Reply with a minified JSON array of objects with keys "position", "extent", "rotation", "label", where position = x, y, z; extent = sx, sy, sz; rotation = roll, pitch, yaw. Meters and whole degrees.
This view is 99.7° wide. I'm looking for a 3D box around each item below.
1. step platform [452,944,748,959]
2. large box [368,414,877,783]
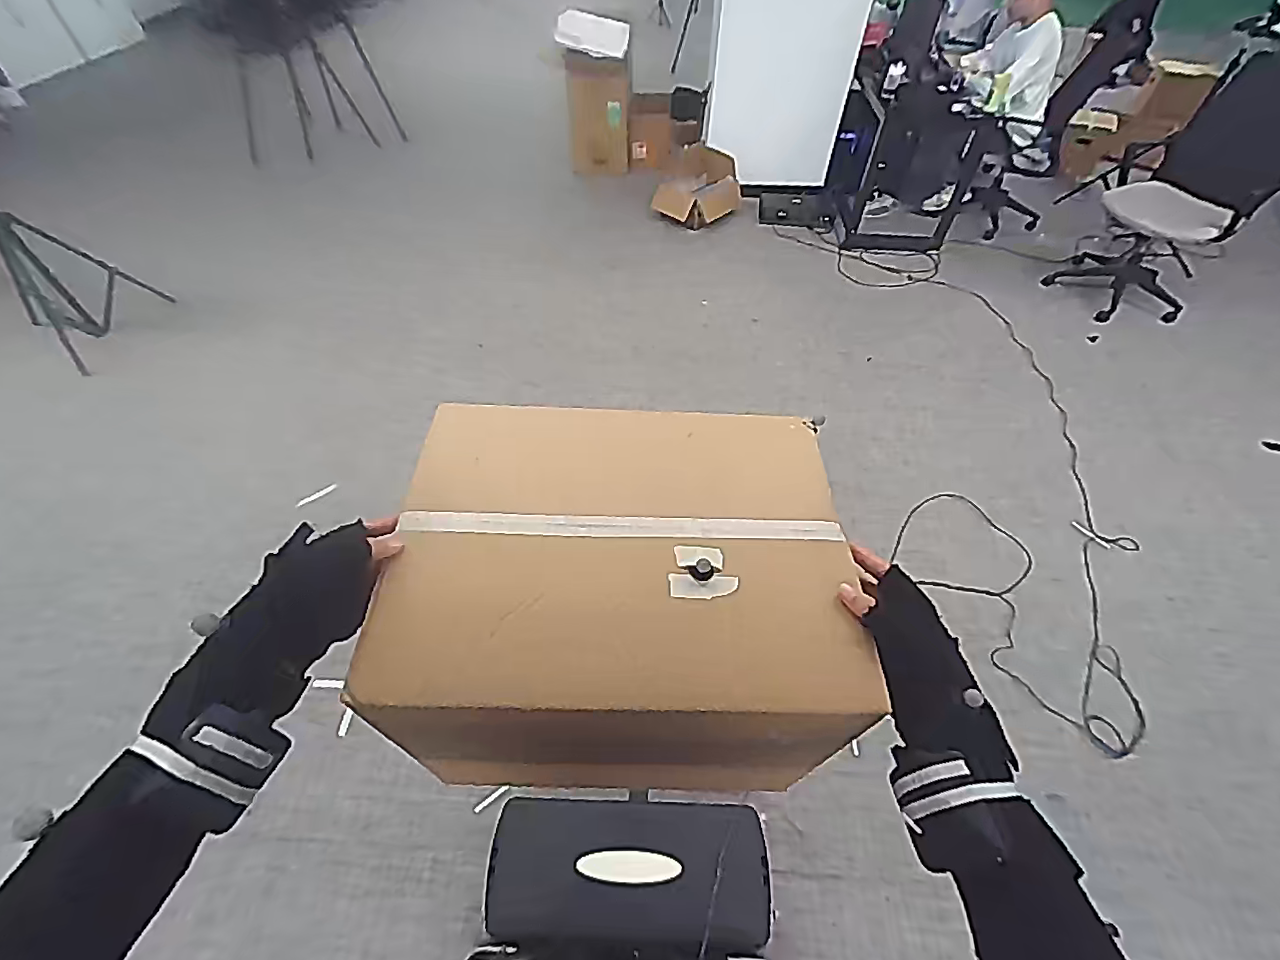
[{"position":[-0.078,1.142,1.094],"extent":[0.684,0.204,0.286],"rotation":[1,50,2],"label":"step platform"},{"position":[-0.020,0.146,0.623],"extent":[0.408,0.320,0.320],"rotation":[3,51,-2],"label":"large box"}]
